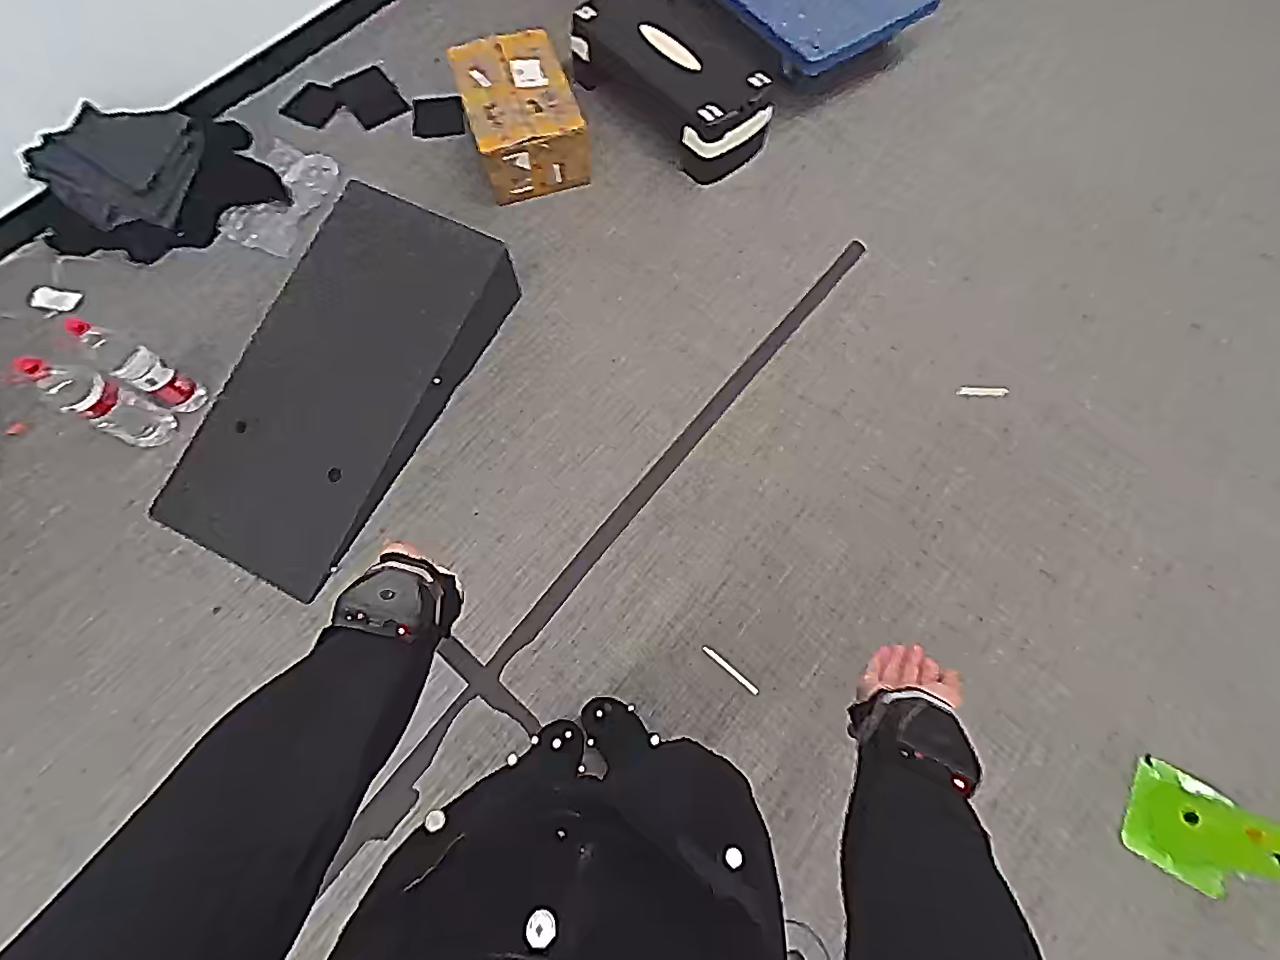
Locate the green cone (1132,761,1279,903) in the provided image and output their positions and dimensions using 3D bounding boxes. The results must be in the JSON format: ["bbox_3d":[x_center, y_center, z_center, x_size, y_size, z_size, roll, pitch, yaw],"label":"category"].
[{"bbox_3d":[1.126,0.661,0.945,0.202,0.368,0.200,29,73,8],"label":"green cone"}]
